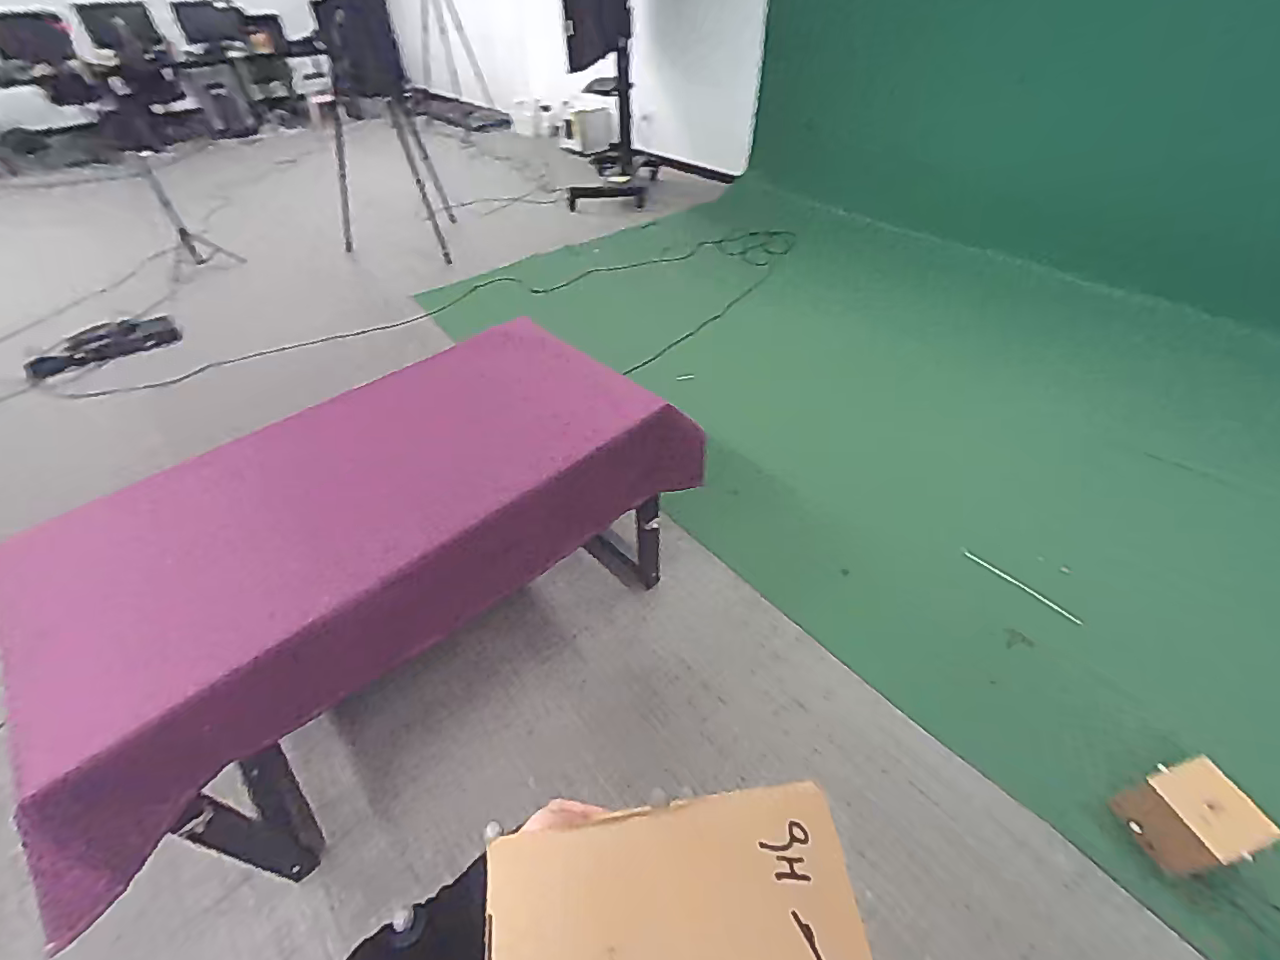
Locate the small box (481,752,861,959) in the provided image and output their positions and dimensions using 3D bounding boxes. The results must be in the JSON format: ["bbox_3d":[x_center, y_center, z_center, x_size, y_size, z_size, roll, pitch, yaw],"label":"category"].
[{"bbox_3d":[0.020,0.271,0.312,0.179,0.176,0.168,-10,57,-2],"label":"small box"}]

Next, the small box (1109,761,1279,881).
[{"bbox_3d":[1.225,0.765,1.213,0.179,0.176,0.168,-12,45,-11],"label":"small box"}]
